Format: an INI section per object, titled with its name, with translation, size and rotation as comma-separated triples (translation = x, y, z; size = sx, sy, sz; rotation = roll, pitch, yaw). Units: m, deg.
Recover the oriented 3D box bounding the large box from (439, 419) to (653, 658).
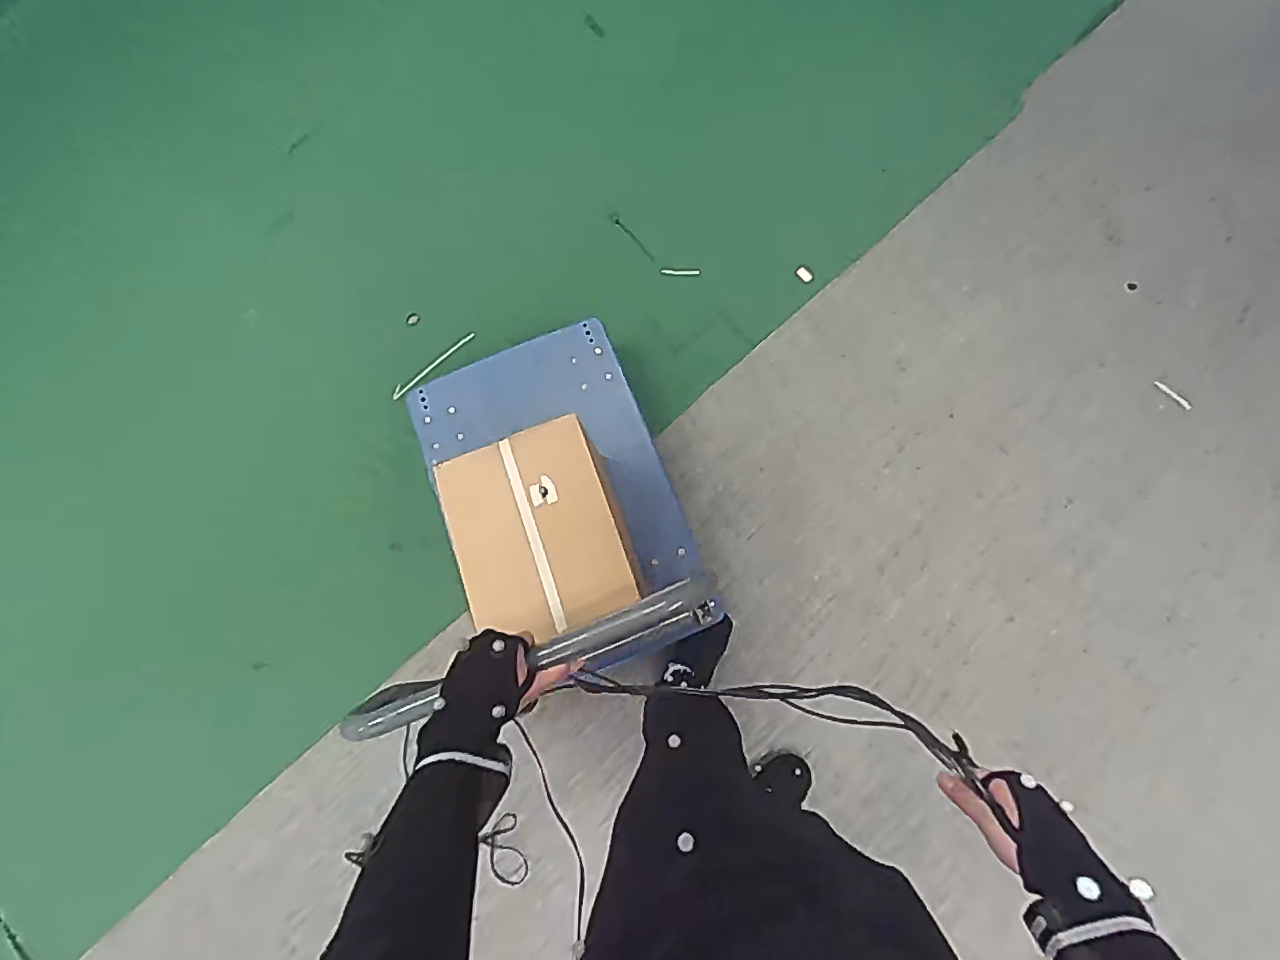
[large box]
translation = -0.190, 0.141, 1.202
size = 0.320, 0.320, 0.408
rotation = -21, 74, -1
